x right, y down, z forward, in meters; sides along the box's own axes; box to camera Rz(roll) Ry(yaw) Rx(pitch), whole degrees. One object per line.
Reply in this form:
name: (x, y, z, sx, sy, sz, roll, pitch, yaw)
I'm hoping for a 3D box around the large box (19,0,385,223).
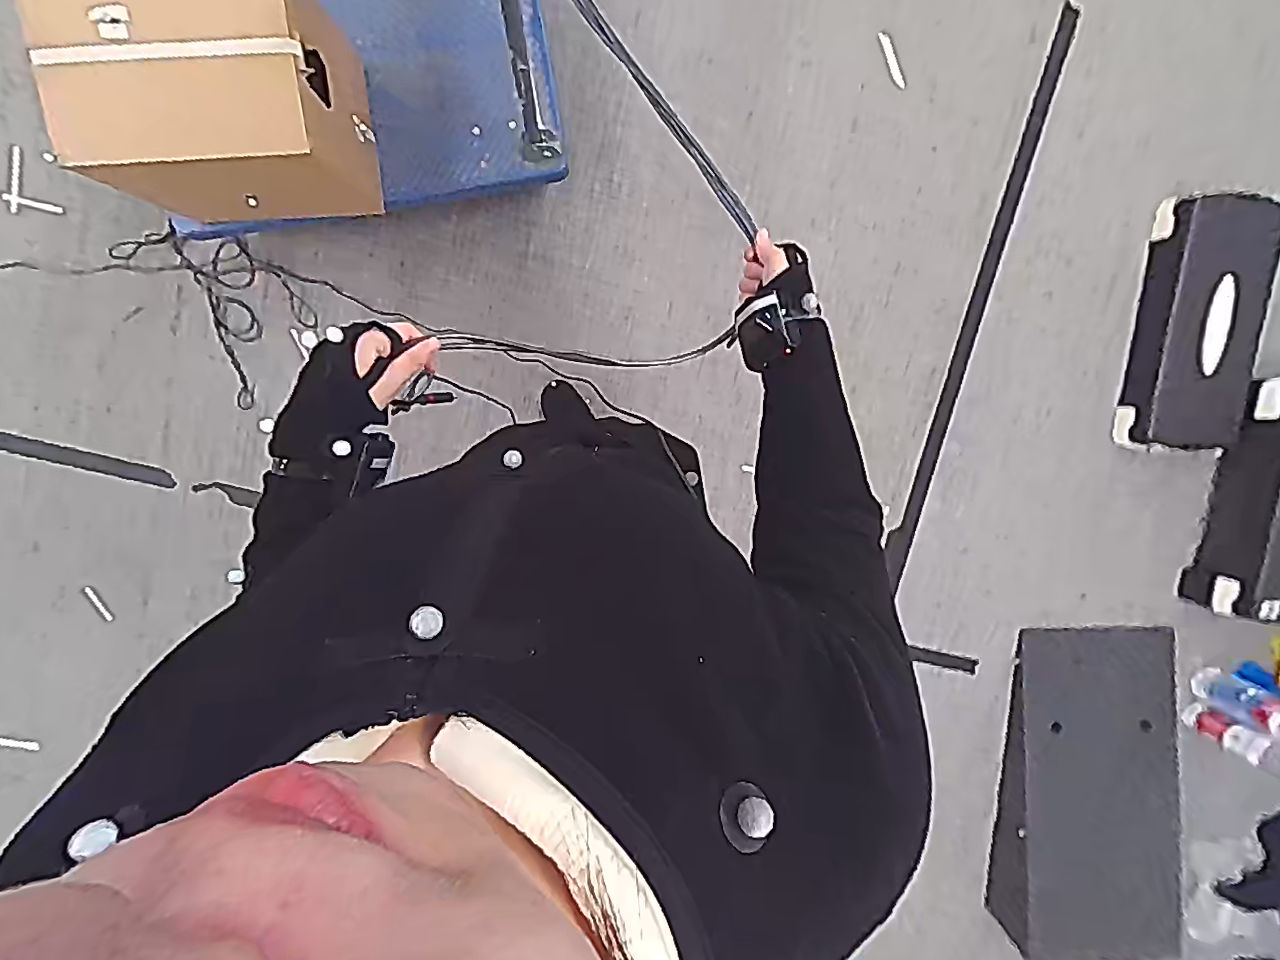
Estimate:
large box: (-0.755, -0.693, 1.001, 0.408, 0.320, 0.320, -5, 99, -2)
